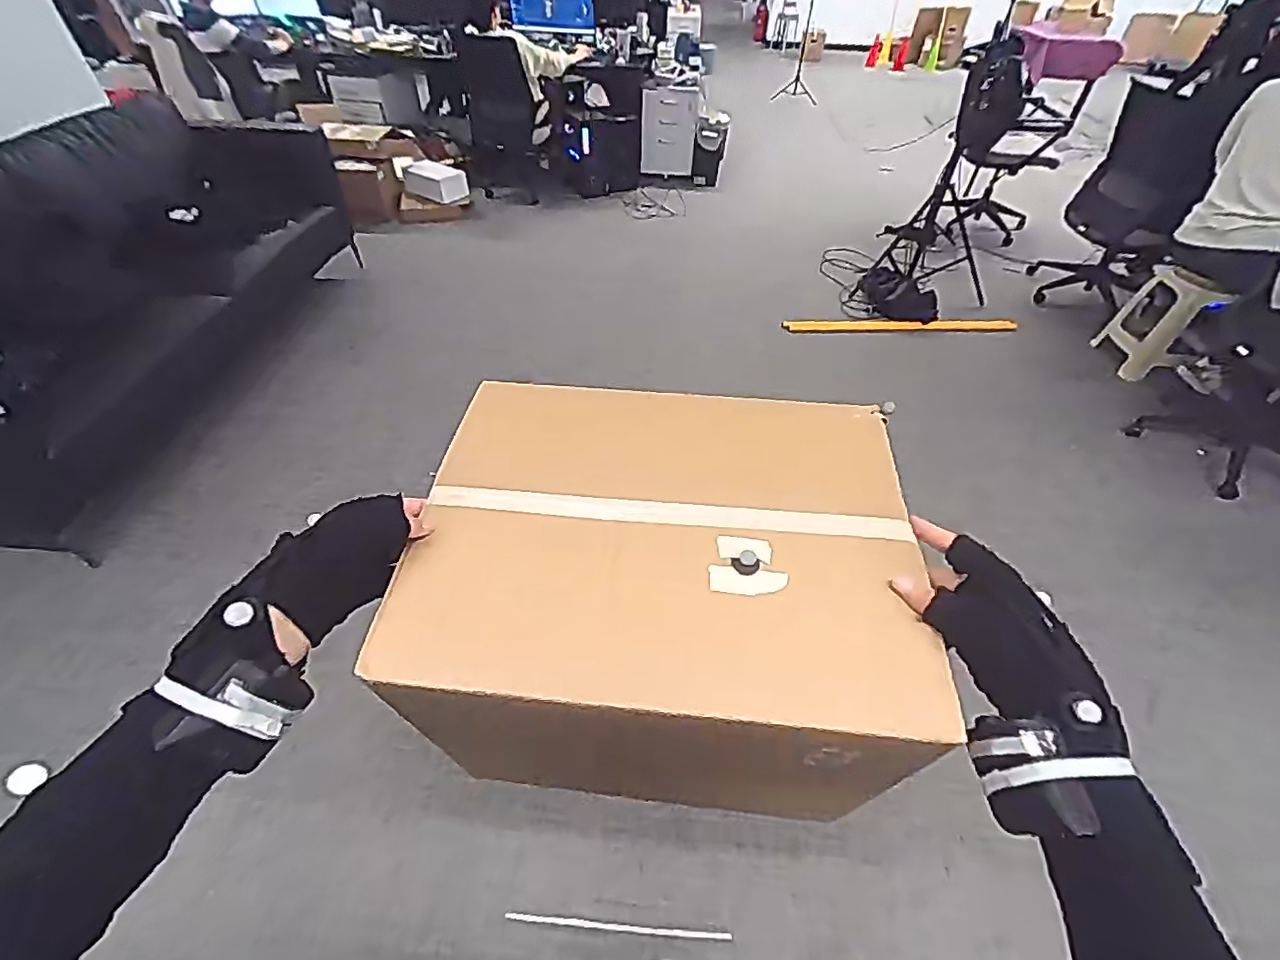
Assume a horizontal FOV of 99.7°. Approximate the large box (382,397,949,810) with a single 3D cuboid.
[{"bbox_3d":[0.025,0.133,0.580,0.408,0.320,0.320,4,50,5],"label":"large box"}]
